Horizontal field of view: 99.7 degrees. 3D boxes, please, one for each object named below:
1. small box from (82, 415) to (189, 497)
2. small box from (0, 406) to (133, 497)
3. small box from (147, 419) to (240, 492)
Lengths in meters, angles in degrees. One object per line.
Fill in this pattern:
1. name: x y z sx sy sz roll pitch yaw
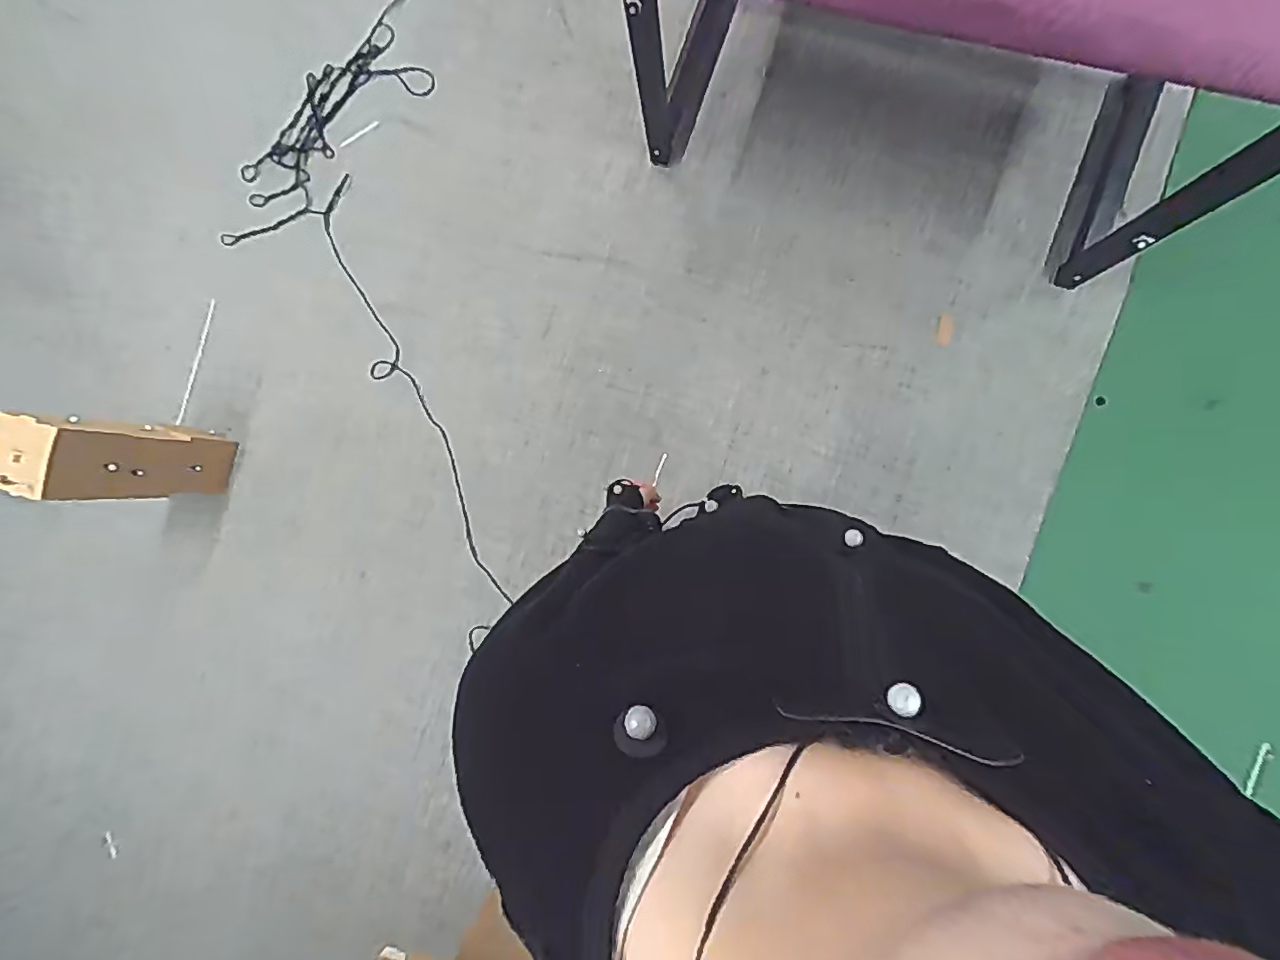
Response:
1. small box: -1.389 -0.063 1.475 0.168 0.176 0.179 18 92 6
2. small box: -1.395 -0.065 1.311 0.168 0.176 0.179 16 91 7
3. small box: -1.364 -0.070 1.637 0.168 0.176 0.179 18 91 7
